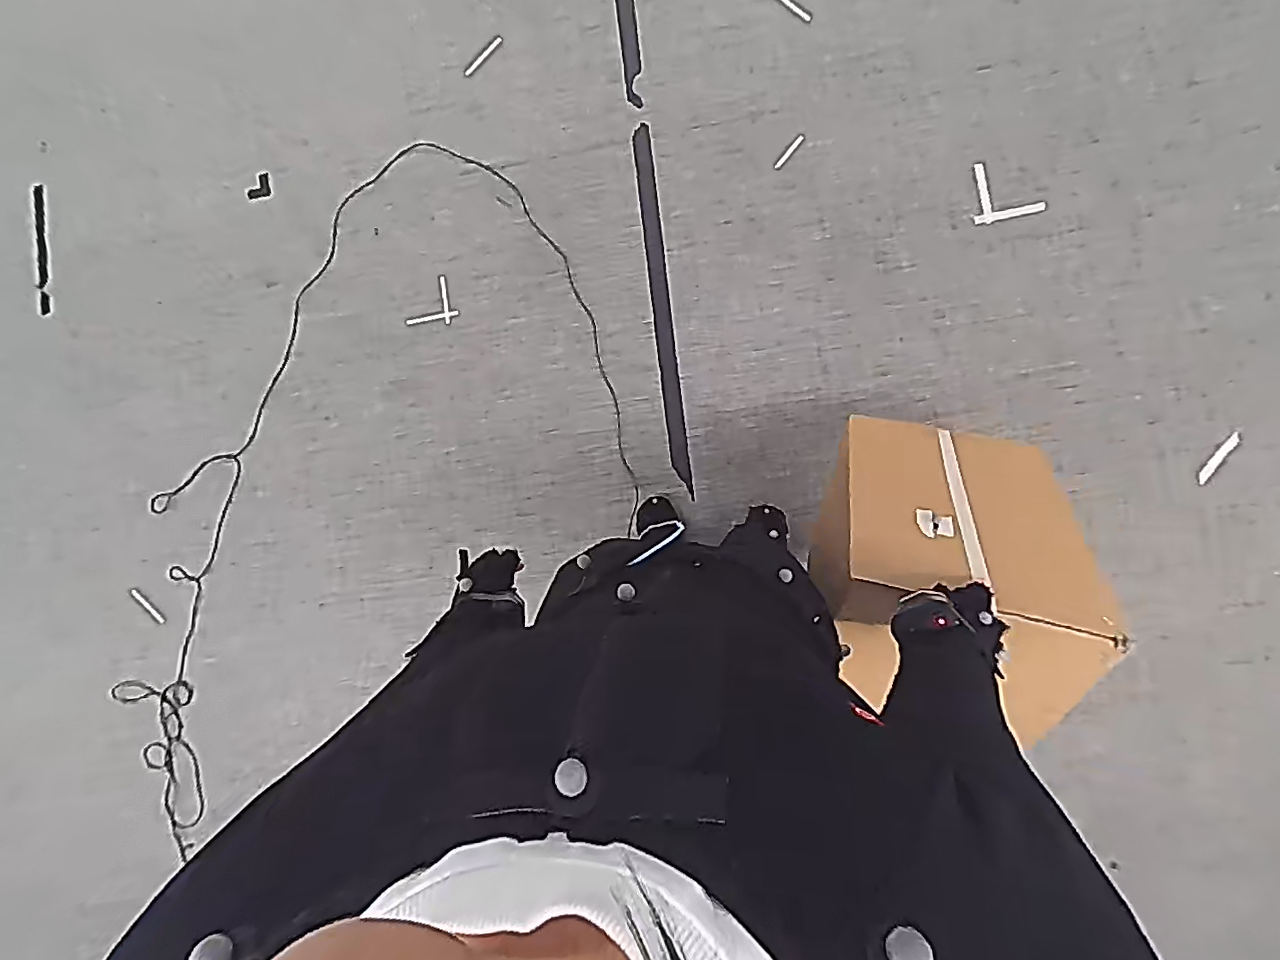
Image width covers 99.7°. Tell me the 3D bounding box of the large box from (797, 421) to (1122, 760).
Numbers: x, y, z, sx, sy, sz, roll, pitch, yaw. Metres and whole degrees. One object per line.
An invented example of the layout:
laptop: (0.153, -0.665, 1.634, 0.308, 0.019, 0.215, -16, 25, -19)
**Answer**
large box: (0.456, 0.160, 0.892, 0.320, 0.408, 0.320, 12, 131, 11)
